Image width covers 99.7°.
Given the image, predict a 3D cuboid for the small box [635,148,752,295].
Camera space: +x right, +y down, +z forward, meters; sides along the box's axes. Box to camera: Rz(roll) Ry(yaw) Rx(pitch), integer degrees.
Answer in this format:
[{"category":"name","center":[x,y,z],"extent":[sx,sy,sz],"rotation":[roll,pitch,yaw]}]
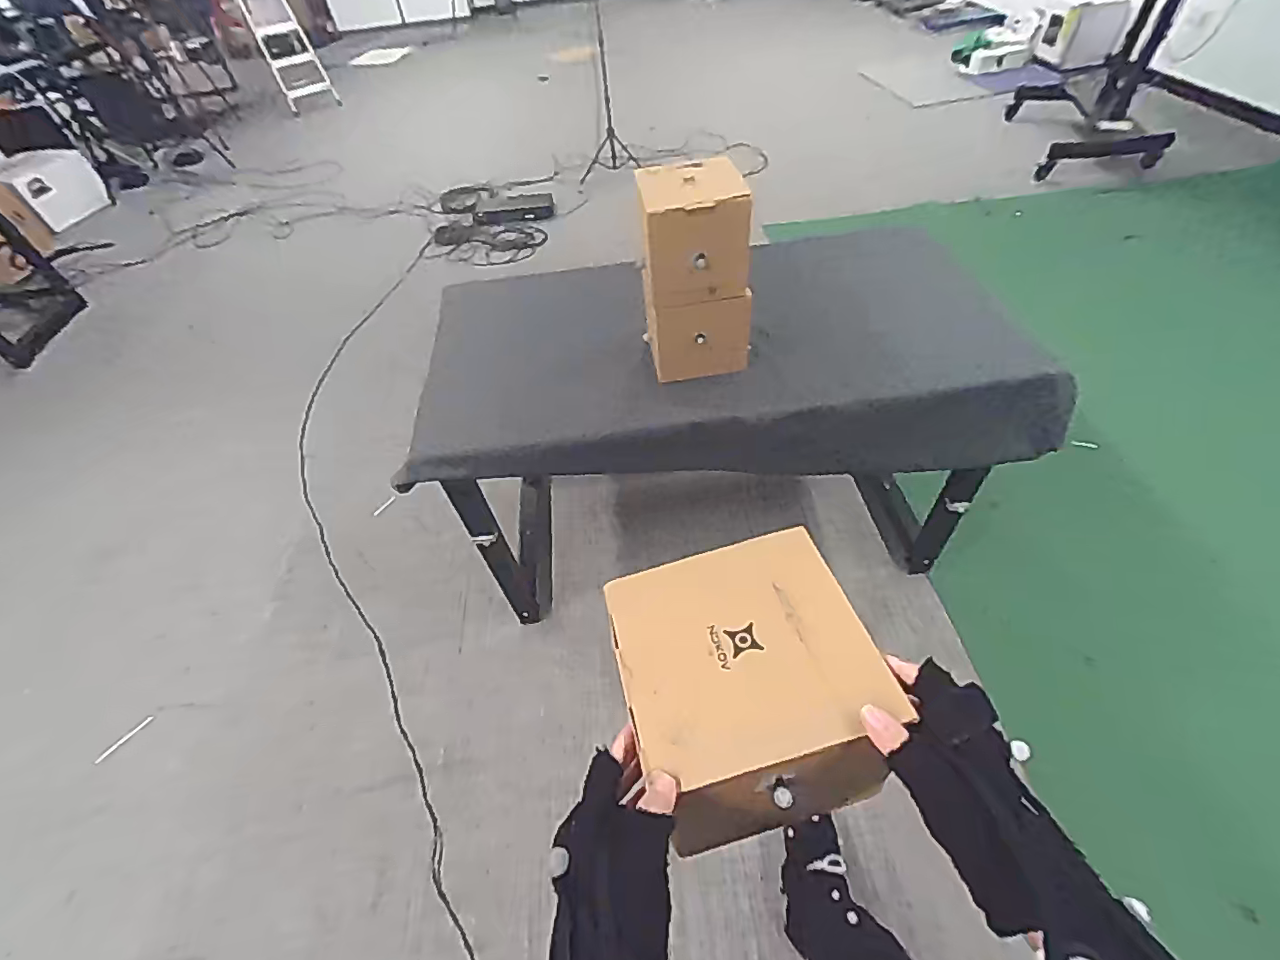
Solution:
[{"category":"small box","center":[0.088,-0.430,0.918],"extent":[0.168,0.176,0.179],"rotation":[-8,50,-1]}]

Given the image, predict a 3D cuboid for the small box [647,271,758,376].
[{"category":"small box","center":[0.110,-0.322,1.039],"extent":[0.179,0.176,0.168],"rotation":[-10,50,-4]}]

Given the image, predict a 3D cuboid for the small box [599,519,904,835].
[{"category":"small box","center":[0.079,0.165,0.446],"extent":[0.179,0.176,0.168],"rotation":[-15,46,-4]}]
